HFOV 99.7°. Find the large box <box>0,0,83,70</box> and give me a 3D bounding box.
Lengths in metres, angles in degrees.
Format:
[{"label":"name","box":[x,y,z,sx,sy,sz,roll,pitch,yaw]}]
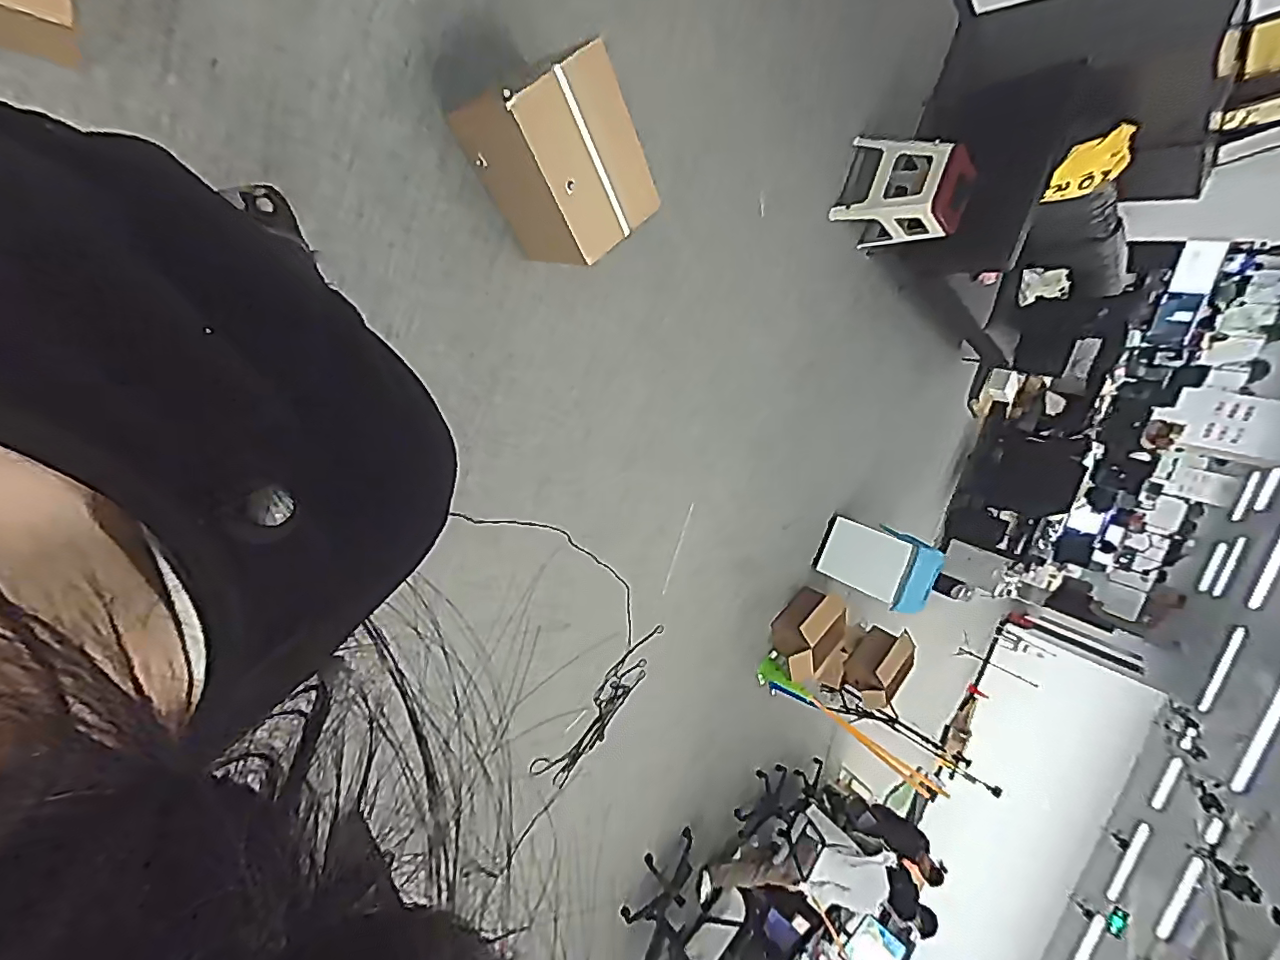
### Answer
[{"label":"large box","box":[-1.009,-0.787,0.672,0.408,0.320,0.320,-7,112,-42]}]
